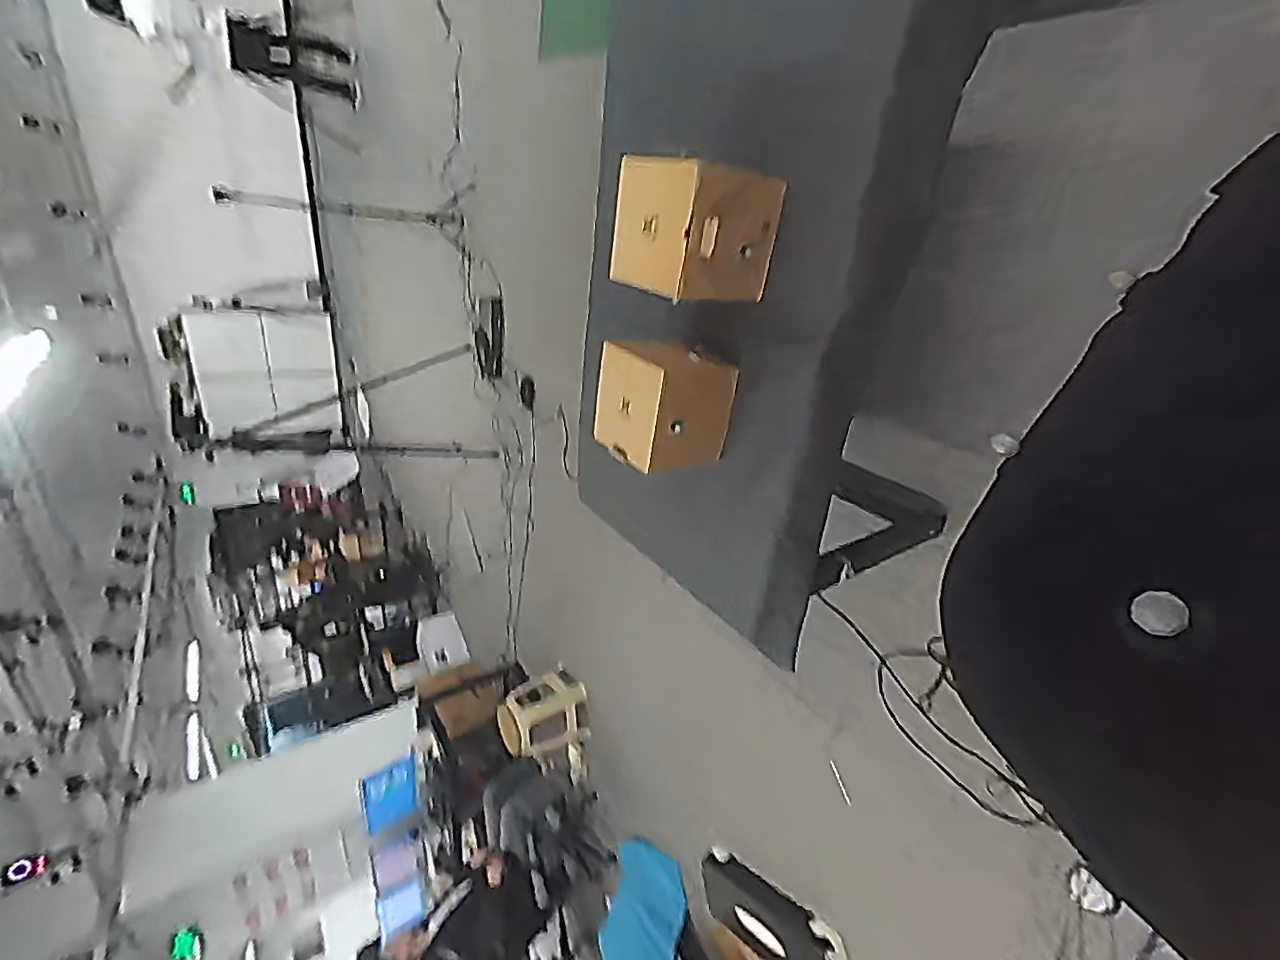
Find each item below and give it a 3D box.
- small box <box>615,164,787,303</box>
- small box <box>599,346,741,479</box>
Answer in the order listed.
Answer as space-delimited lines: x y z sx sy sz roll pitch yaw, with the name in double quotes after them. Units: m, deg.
0.087 -0.365 0.811 0.179 0.176 0.168 36 127 44 "small box"
0.050 -0.124 0.929 0.168 0.176 0.179 37 127 43 "small box"
